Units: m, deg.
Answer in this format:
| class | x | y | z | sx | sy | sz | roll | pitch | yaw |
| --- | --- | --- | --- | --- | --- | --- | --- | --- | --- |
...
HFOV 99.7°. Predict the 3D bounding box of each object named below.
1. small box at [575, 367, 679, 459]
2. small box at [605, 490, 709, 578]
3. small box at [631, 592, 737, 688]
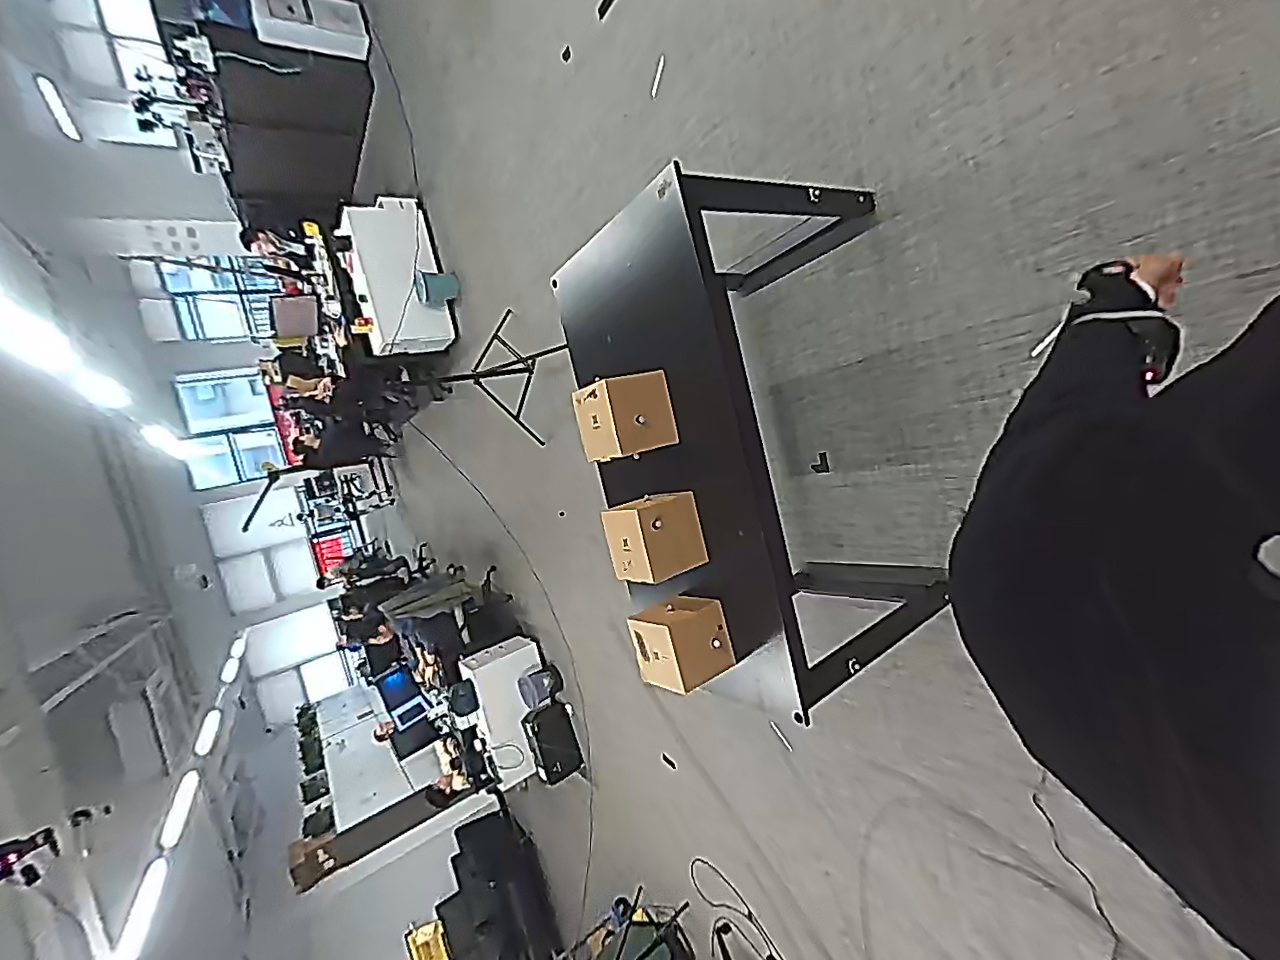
| class | x | y | z | sx | sy | sz | roll | pitch | yaw |
| --- | --- | --- | --- | --- | --- | --- | --- | --- | --- |
| small box | -0.028 | -0.159 | 1.296 | 0.168 | 0.176 | 0.179 | -5 | 100 | 57 |
| small box | 0.042 | 0.124 | 1.315 | 0.168 | 0.176 | 0.179 | -9 | 96 | 57 |
| small box | 0.109 | 0.382 | 1.331 | 0.179 | 0.176 | 0.168 | -12 | 94 | 56 |
